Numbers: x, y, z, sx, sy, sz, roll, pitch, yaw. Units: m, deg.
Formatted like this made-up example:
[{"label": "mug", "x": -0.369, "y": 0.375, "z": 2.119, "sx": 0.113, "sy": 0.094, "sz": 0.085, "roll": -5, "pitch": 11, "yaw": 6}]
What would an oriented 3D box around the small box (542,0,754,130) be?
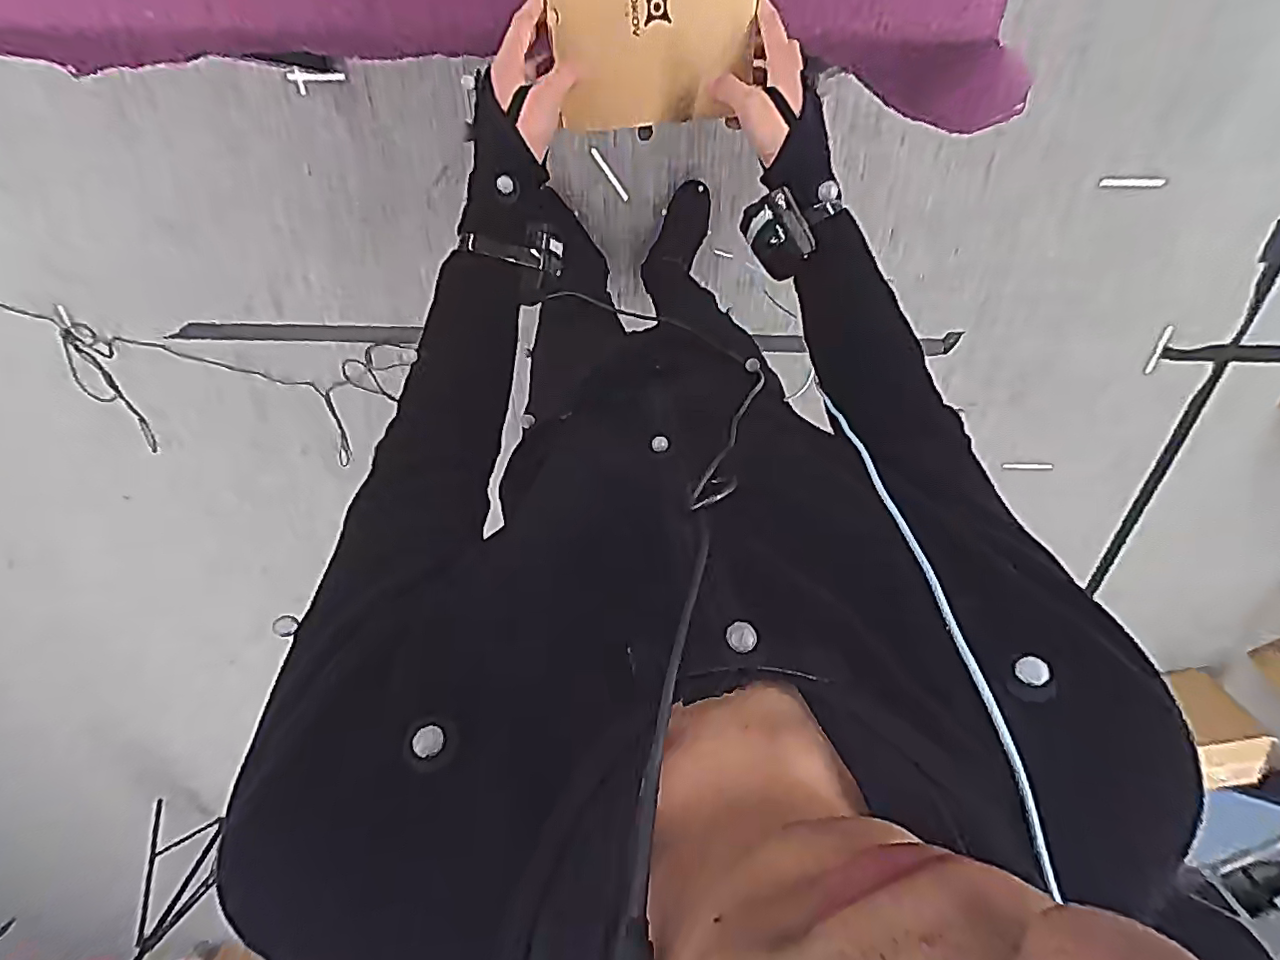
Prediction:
[{"label": "small box", "x": 0.002, "y": -0.440, "z": 0.500, "sx": 0.179, "sy": 0.176, "sz": 0.168, "roll": -5, "pitch": 131, "yaw": 0}]
